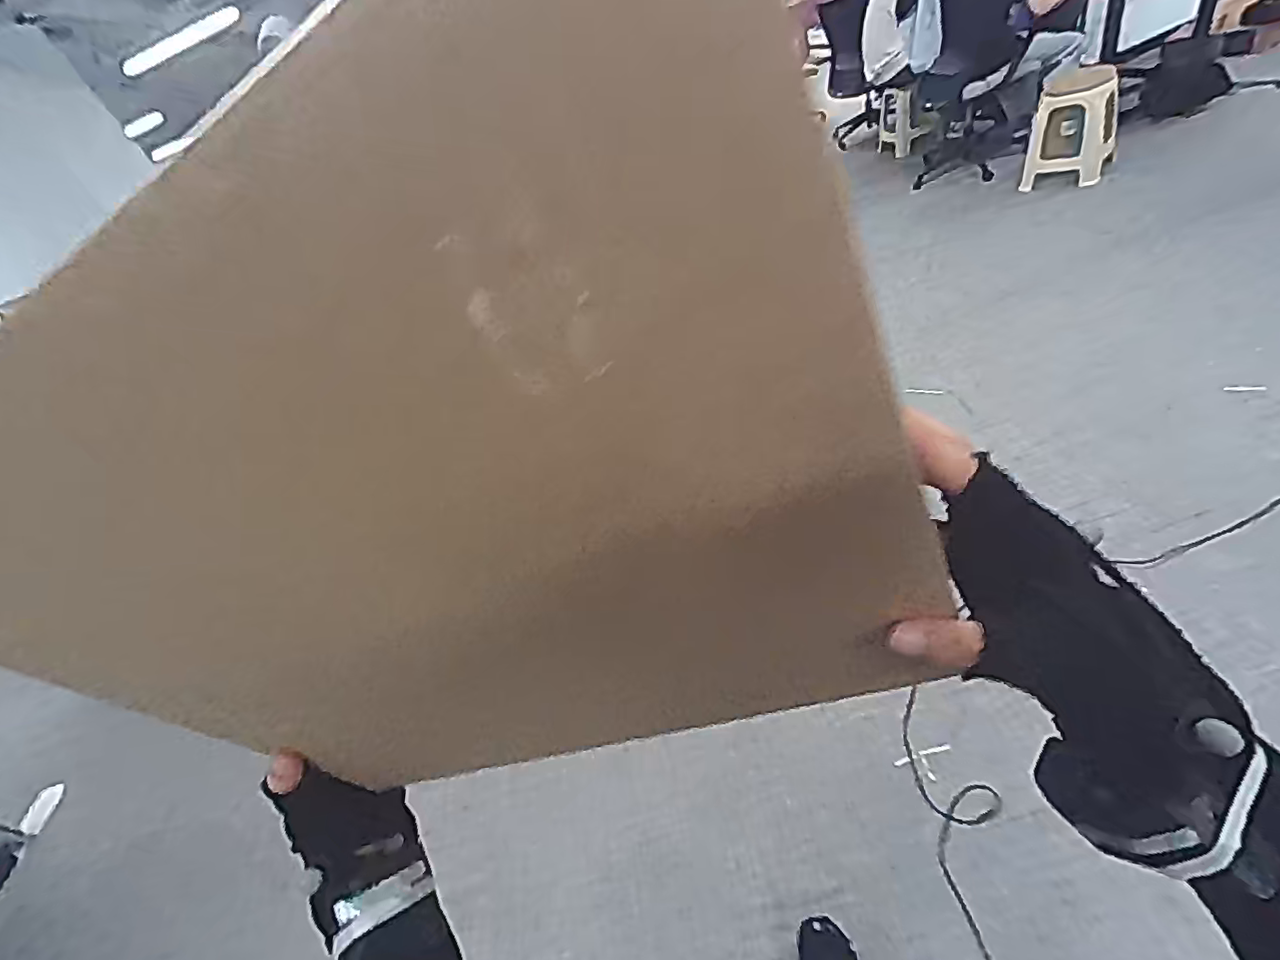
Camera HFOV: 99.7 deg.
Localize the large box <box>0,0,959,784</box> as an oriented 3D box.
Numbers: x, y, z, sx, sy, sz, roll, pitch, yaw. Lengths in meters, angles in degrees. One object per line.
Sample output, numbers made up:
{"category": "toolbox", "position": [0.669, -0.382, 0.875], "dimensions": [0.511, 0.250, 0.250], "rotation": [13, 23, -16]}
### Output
{"category": "large box", "position": [-0.083, -0.043, 0.348], "dimensions": [0.408, 0.320, 0.320], "rotation": [-21, 42, 19]}
